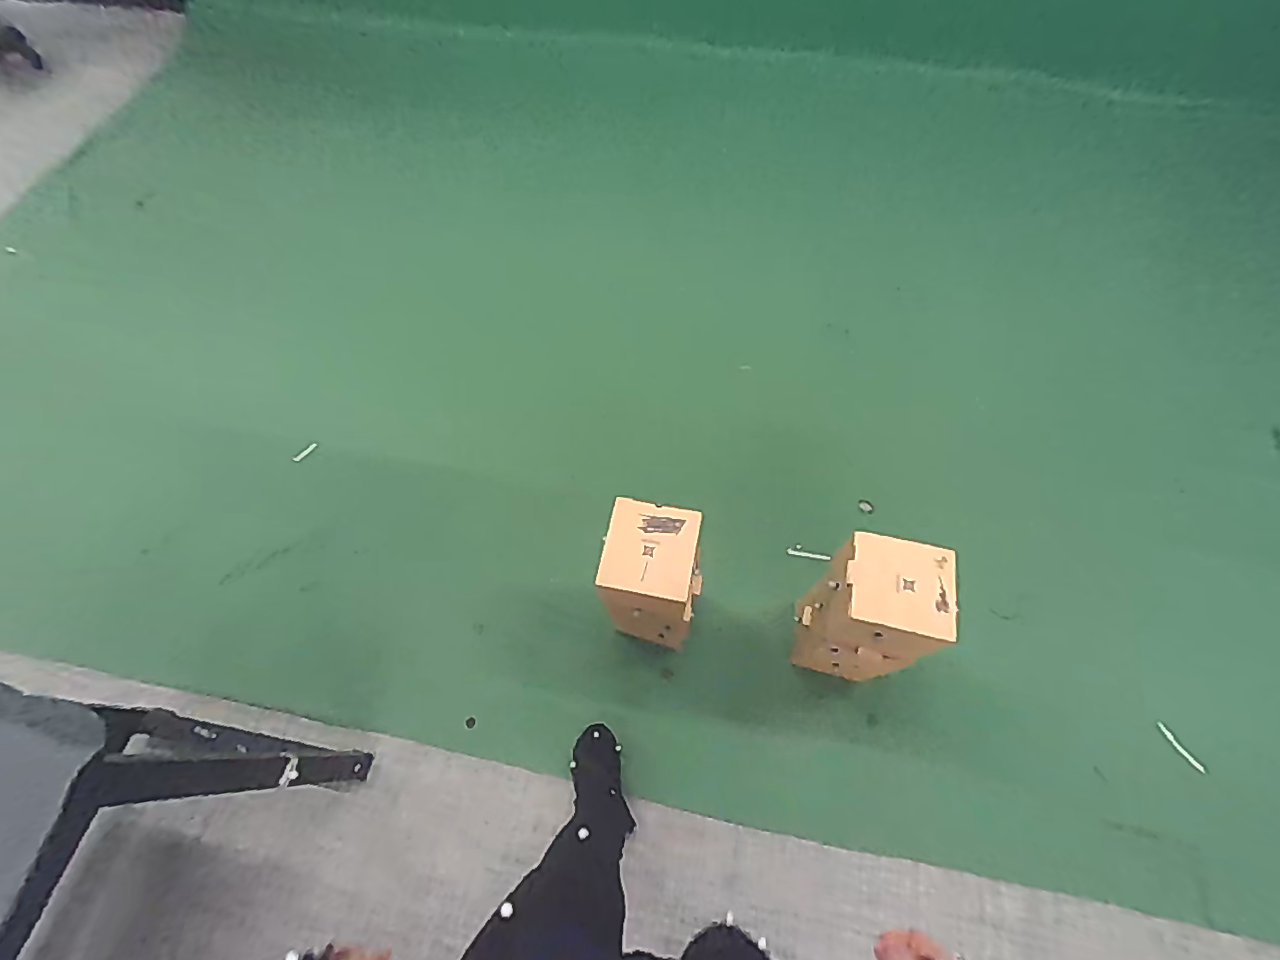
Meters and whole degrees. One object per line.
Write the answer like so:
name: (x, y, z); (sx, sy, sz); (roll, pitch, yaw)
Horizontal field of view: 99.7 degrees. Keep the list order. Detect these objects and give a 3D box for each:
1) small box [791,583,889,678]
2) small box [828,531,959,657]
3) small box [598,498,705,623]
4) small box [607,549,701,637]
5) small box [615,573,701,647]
small box: (0.475, 0.364, 1.286); (0.179, 0.176, 0.168); (14, 65, 7)
small box: (0.457, 0.215, 0.995); (0.179, 0.176, 0.168); (12, 64, 8)
small box: (0.023, 0.158, 1.034); (0.168, 0.176, 0.179); (10, 64, 6)
small box: (0.033, 0.237, 1.179); (0.179, 0.176, 0.168); (7, 63, 6)
small box: (0.040, 0.300, 1.329); (0.179, 0.176, 0.168); (15, 65, 9)
